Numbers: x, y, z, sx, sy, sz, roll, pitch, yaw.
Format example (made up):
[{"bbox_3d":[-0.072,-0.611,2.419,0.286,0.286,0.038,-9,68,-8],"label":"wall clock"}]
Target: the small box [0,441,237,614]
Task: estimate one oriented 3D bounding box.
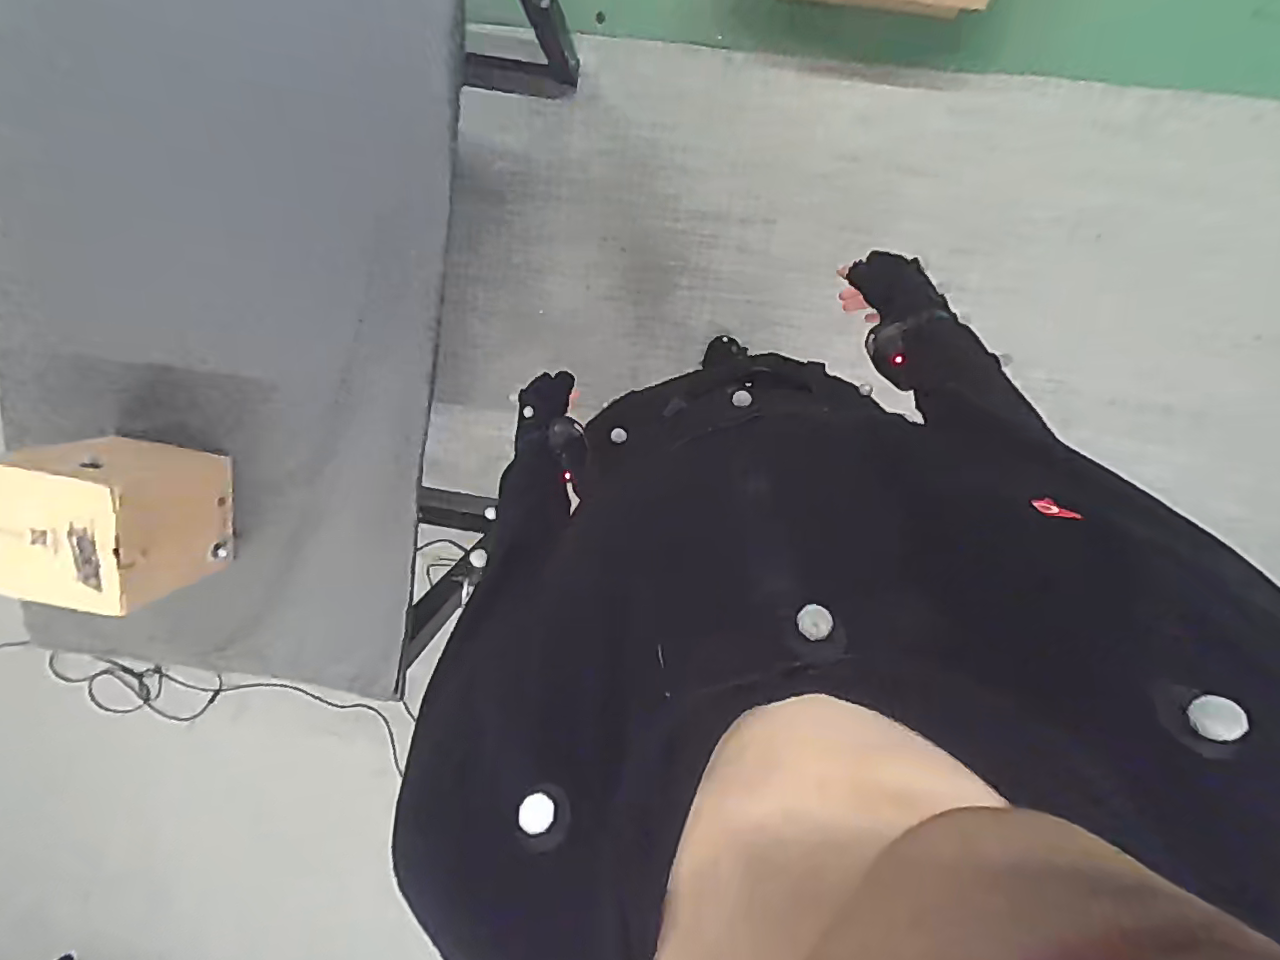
[{"bbox_3d":[-0.669,0.051,0.706,0.179,0.176,0.168,10,103,2],"label":"small box"}]
